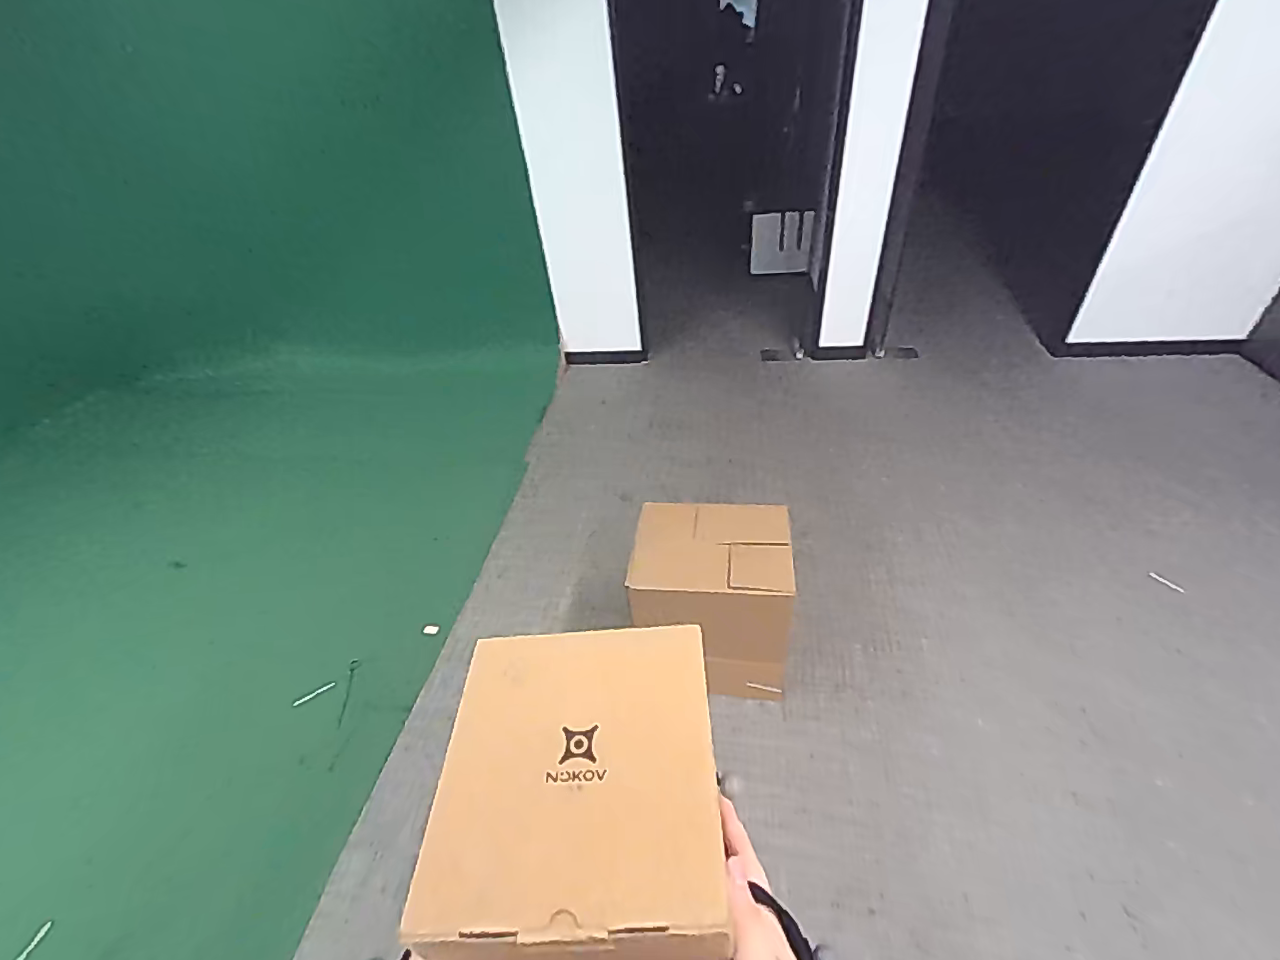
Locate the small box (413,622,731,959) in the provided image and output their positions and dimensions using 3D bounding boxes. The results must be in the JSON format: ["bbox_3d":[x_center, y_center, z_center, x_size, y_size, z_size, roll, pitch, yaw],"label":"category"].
[{"bbox_3d":[-0.029,0.224,0.385,0.168,0.176,0.179,-3,40,4],"label":"small box"}]
